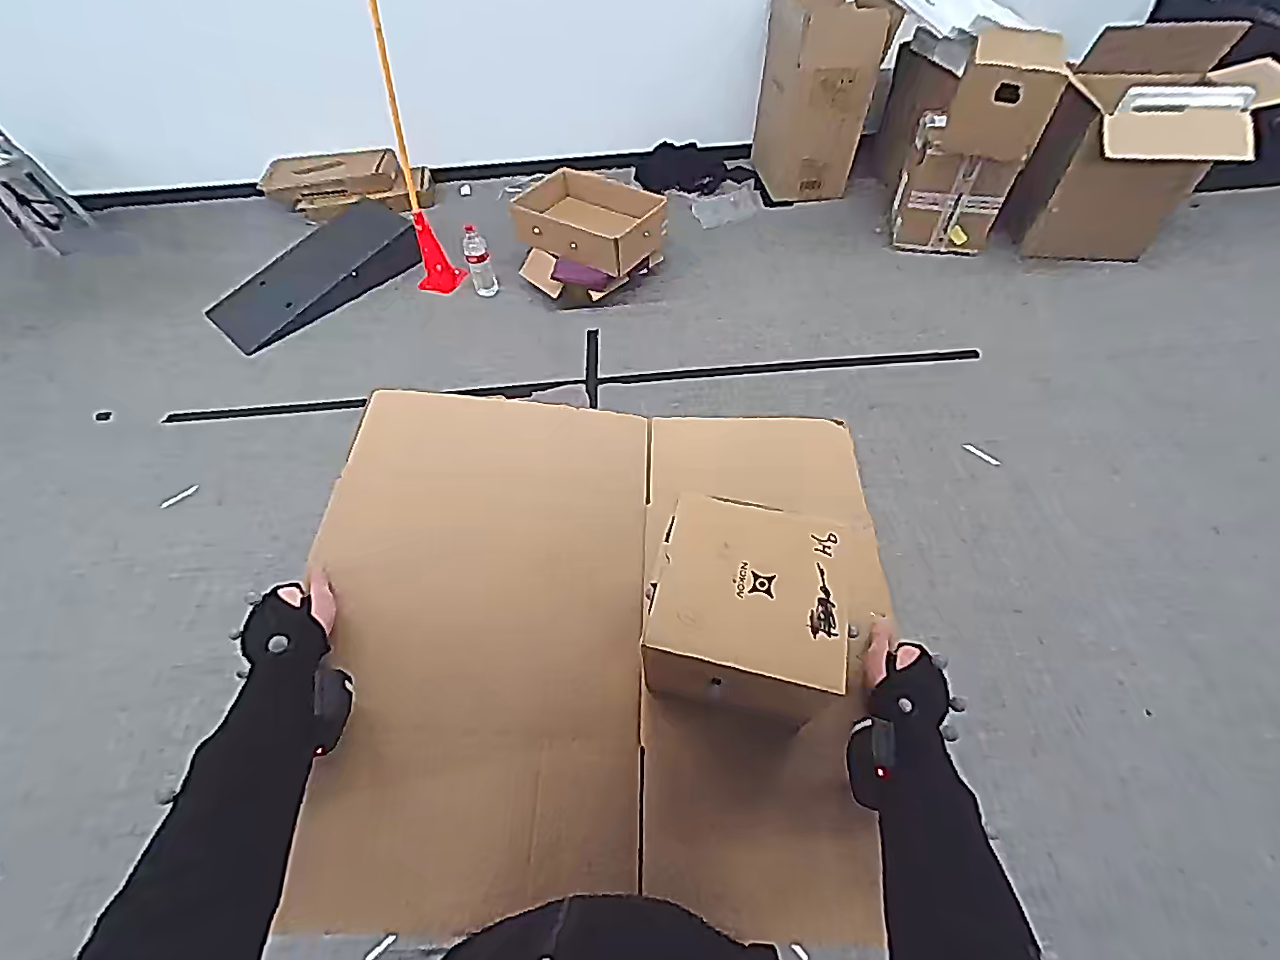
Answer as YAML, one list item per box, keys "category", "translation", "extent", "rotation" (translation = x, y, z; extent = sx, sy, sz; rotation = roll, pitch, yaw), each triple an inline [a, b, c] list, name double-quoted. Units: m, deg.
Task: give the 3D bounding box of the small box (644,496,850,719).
- category: "small box"
  translation: [0.111, 0.140, 0.576]
  extent: [0.179, 0.176, 0.168]
  rotation: [10, 58, 10]
